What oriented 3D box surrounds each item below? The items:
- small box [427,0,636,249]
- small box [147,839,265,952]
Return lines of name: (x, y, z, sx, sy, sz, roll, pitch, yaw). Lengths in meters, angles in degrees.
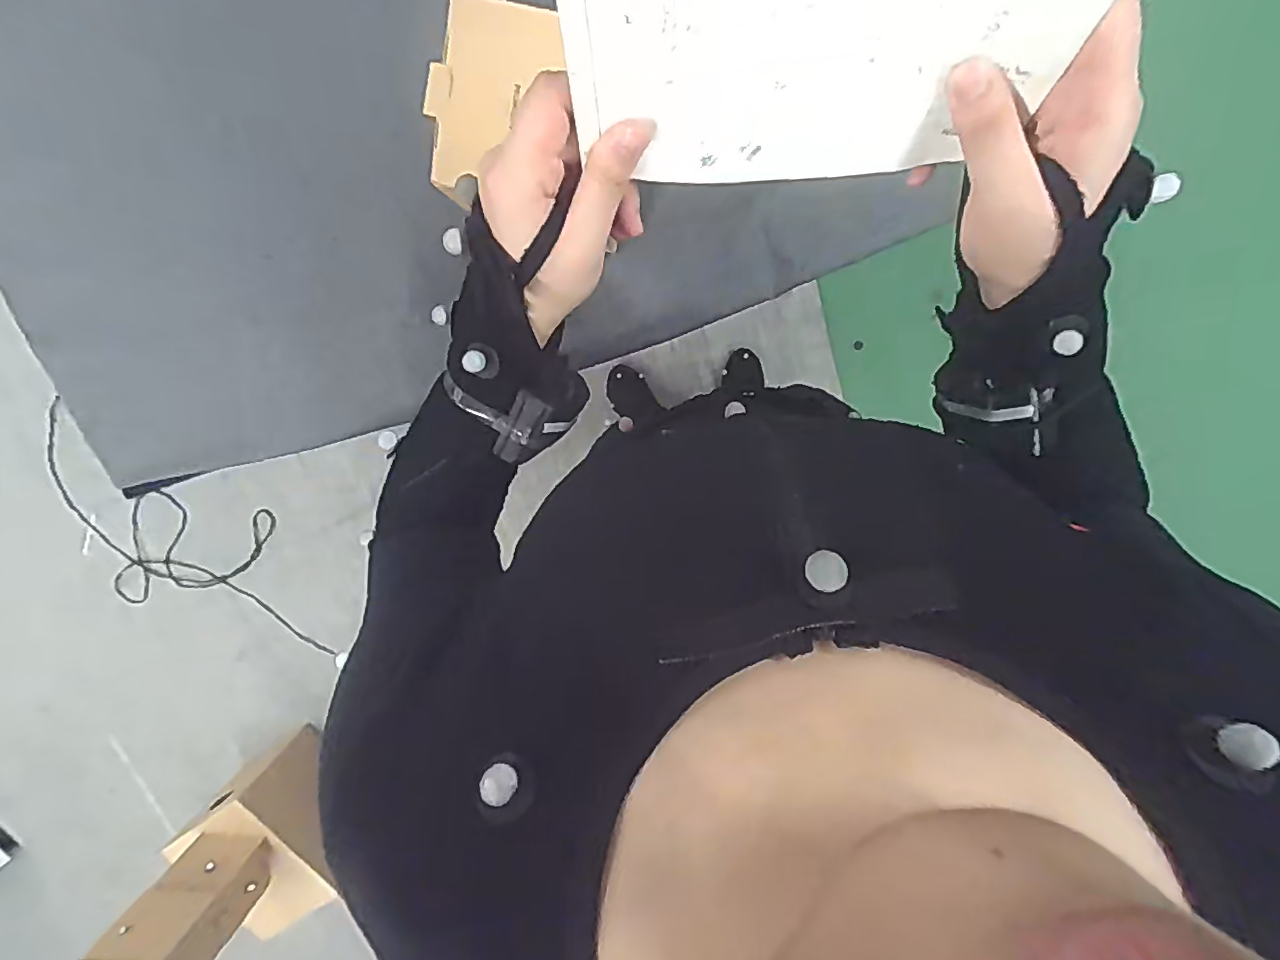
small box: (-0.104, -0.363, 0.587, 0.179, 0.176, 0.168, 12, 103, 1)
small box: (-1.106, 1.067, 1.397, 0.179, 0.176, 0.168, 4, 103, -1)
